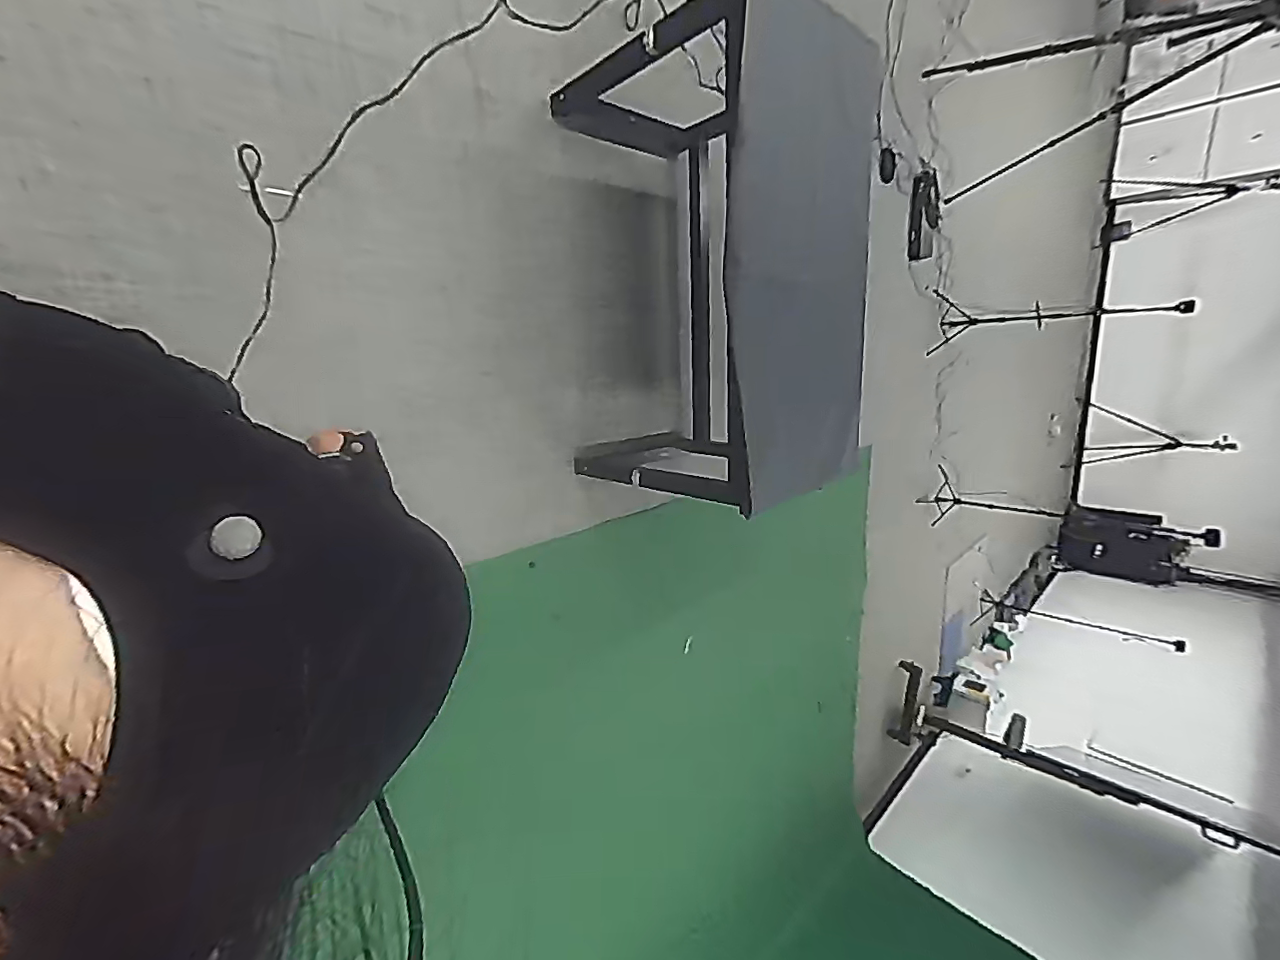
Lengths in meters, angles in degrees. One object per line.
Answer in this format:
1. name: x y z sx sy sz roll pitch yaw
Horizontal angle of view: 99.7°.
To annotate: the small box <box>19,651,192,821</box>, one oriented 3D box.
1. small box: -0.893 0.414 0.914 0.179 0.176 0.168 -13 104 -41
